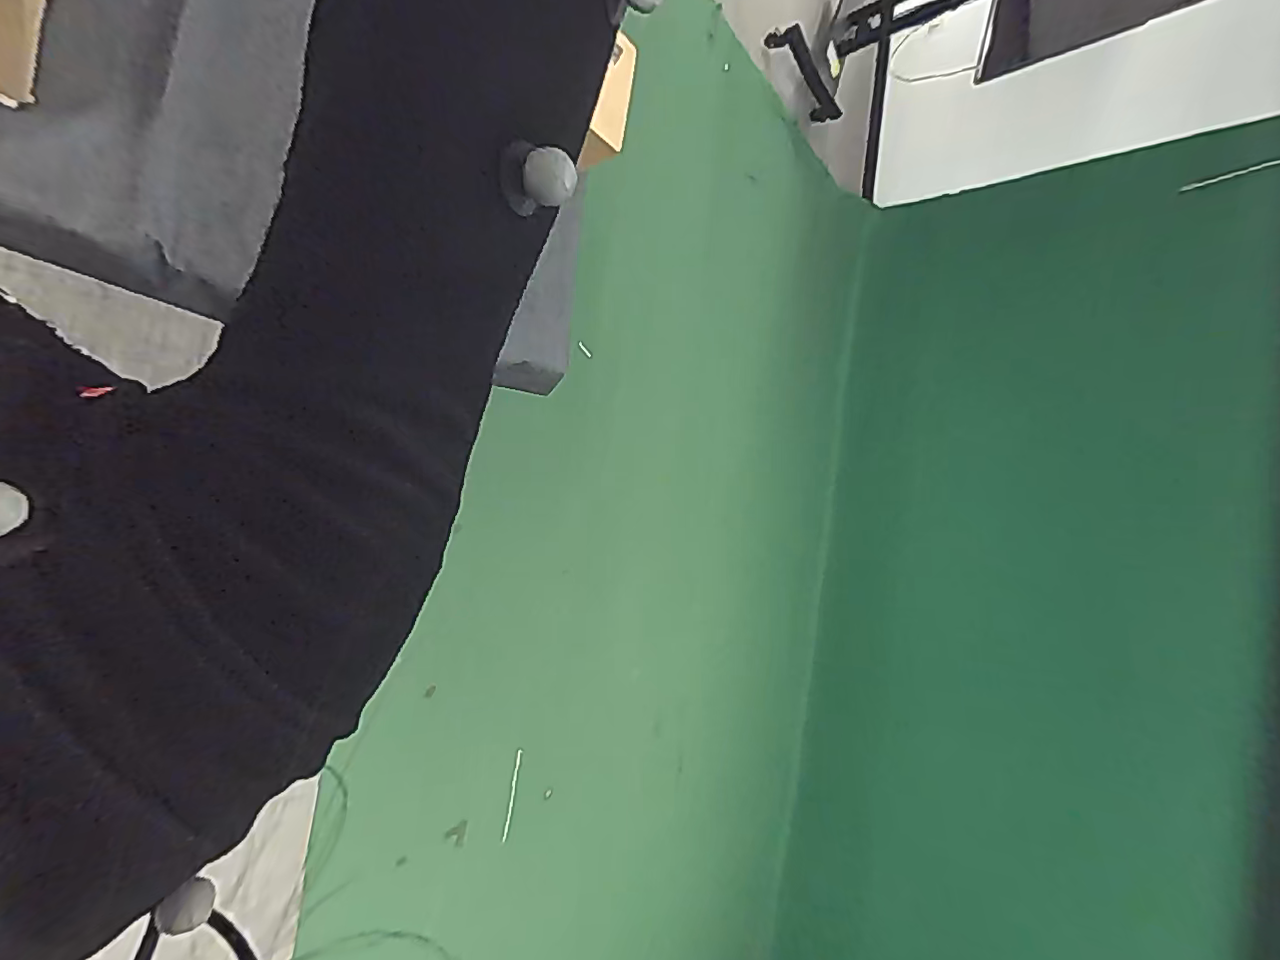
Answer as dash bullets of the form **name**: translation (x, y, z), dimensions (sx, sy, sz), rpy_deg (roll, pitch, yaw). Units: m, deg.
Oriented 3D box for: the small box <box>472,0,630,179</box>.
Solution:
- **small box**: translation (-0.140, -0.613, 0.843), dimensions (0.168, 0.176, 0.179), rpy_deg (12, 86, -49)
